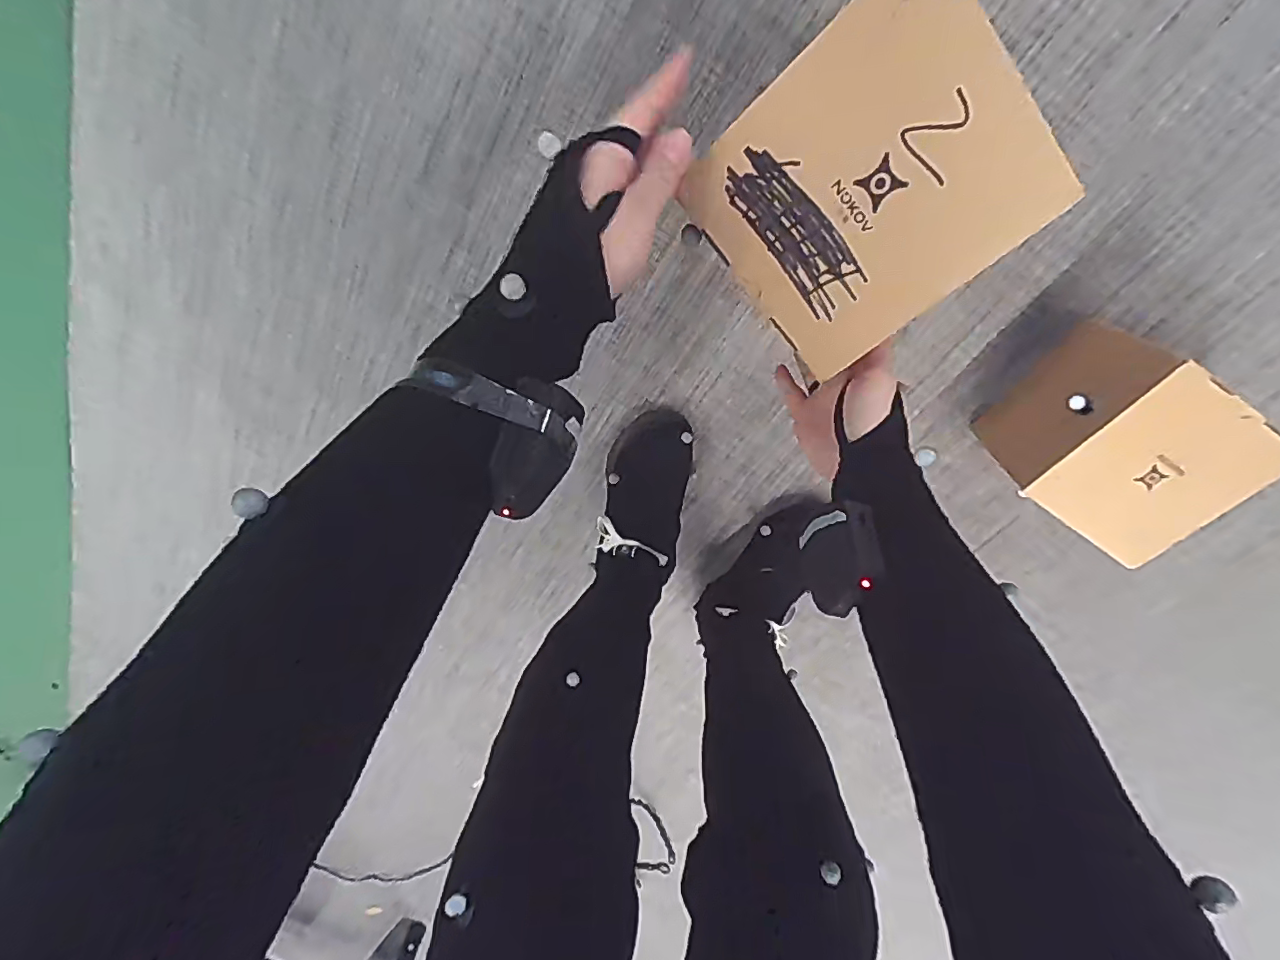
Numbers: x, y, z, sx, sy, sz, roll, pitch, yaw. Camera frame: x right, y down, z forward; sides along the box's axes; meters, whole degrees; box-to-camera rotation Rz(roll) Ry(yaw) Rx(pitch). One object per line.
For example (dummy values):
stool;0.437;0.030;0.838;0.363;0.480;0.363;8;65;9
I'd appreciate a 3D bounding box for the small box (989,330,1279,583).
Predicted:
small box;0.517;-0.032;0.581;0.168;0.176;0.179;35;119;-8
